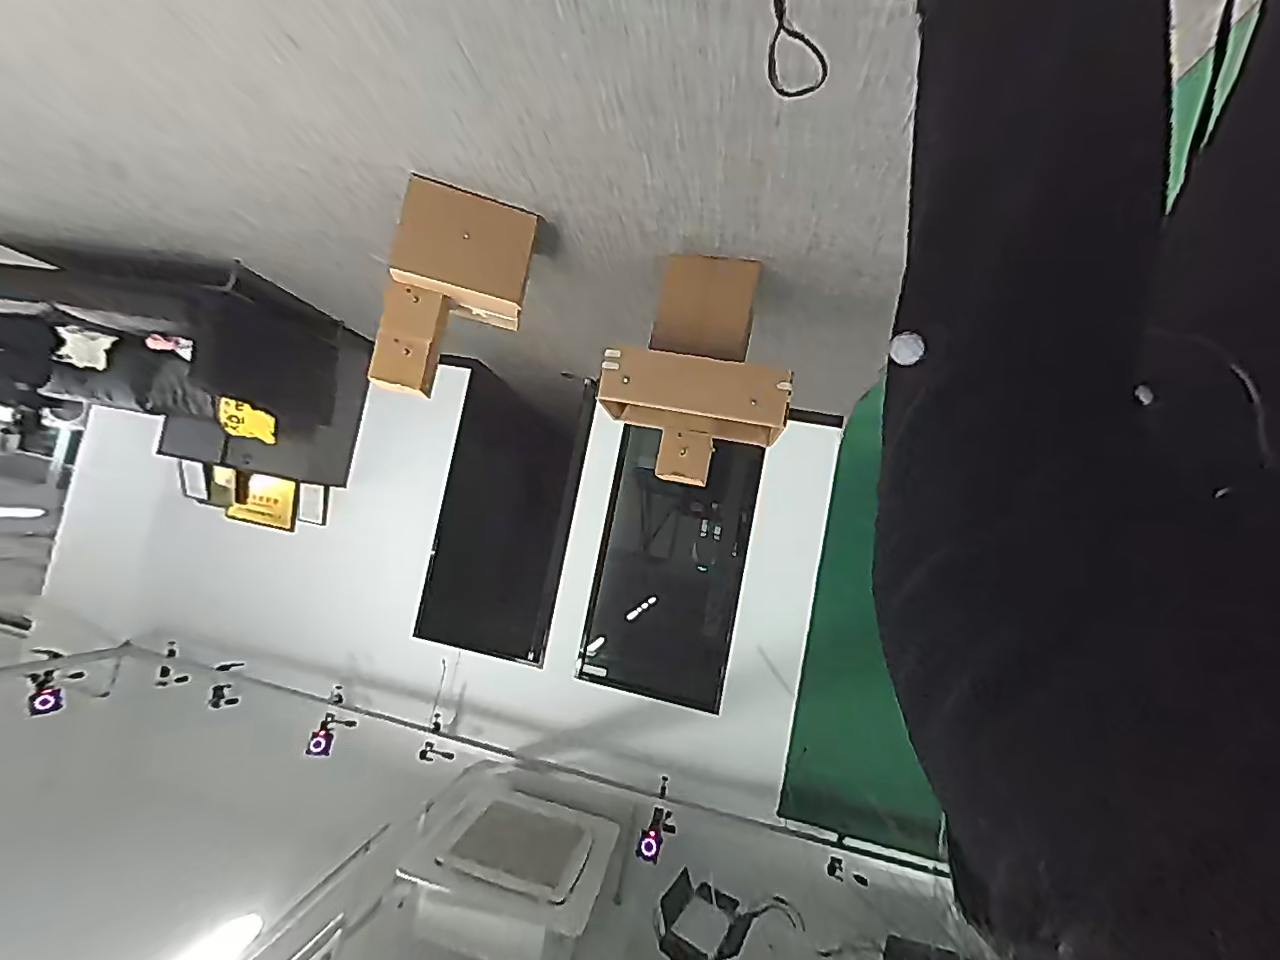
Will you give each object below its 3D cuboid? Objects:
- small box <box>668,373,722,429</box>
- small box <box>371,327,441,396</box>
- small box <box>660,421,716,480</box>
[{"bbox_3d":[0.199,-0.266,1.916,0.168,0.176,0.179,9,175,9],"label":"small box"},{"bbox_3d":[-0.784,-0.397,1.829,0.168,0.176,0.179,11,176,-10],"label":"small box"},{"bbox_3d":[0.173,-0.104,1.902,0.168,0.176,0.179,10,175,12],"label":"small box"}]
